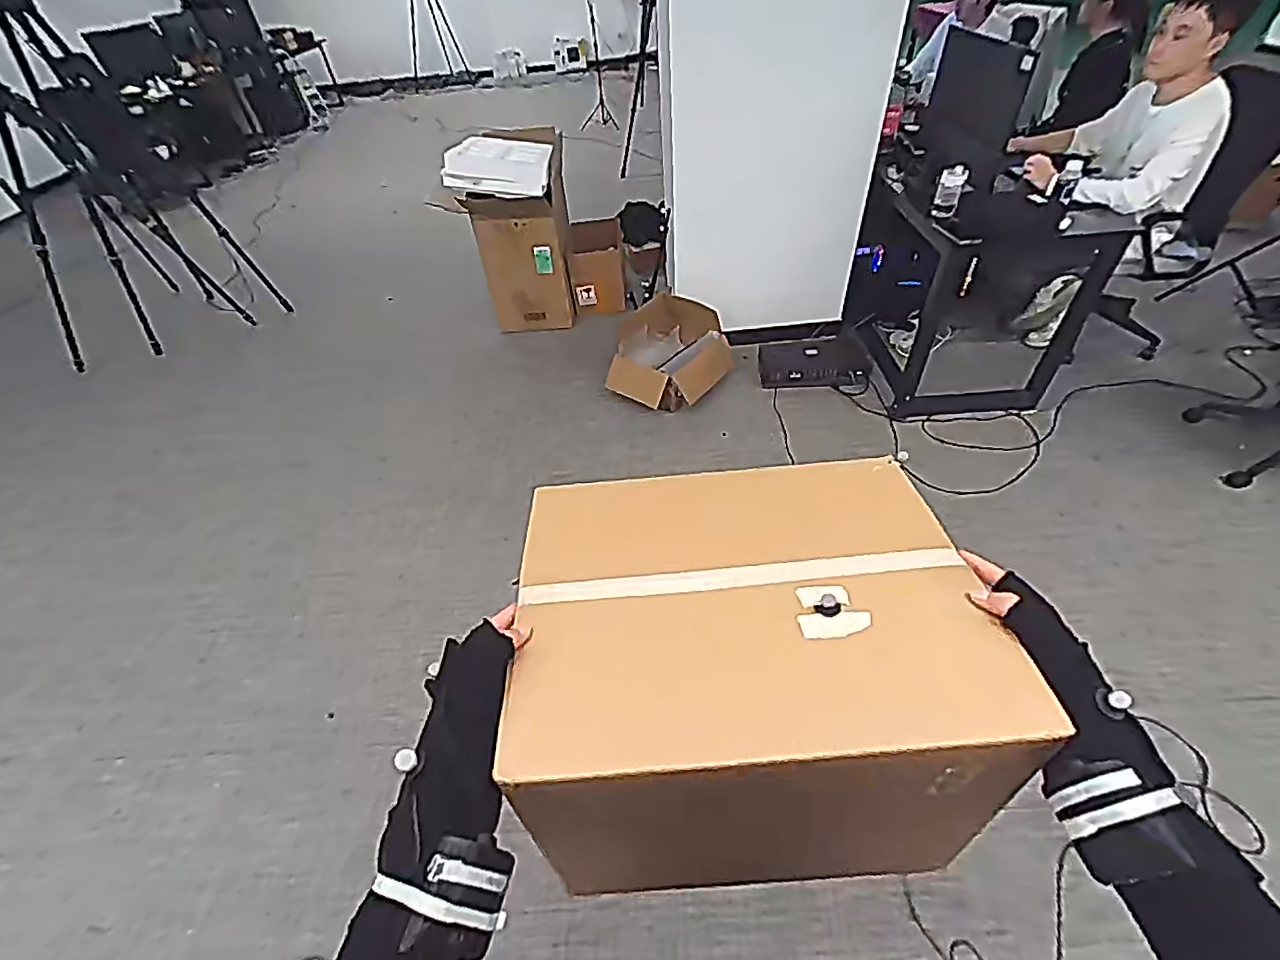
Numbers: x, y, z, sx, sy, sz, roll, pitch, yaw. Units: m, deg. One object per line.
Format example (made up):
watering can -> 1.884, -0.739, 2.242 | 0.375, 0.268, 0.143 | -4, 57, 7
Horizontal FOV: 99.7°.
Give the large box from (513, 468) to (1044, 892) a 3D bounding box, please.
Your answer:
large box -> 0.103, 0.216, 0.603 | 0.408, 0.320, 0.320 | -5, 40, 1
